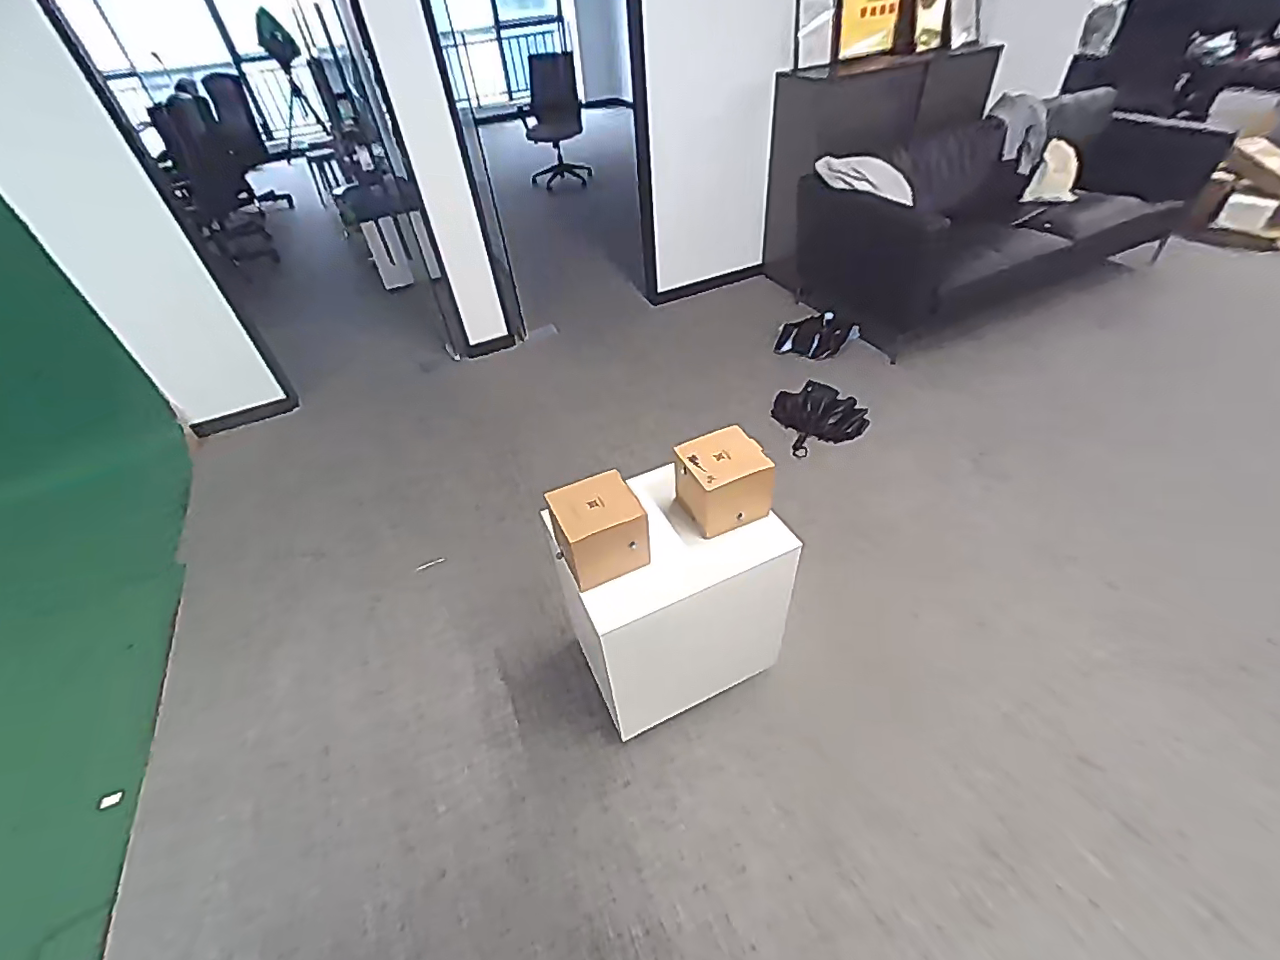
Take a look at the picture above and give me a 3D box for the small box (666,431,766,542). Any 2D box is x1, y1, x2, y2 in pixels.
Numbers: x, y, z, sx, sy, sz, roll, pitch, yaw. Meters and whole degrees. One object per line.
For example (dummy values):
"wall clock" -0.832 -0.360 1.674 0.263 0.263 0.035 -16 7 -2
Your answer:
"small box" 0.170 0.016 1.279 0.179 0.176 0.168 -19 45 -17

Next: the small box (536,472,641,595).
"small box" -0.110 0.116 1.181 0.179 0.176 0.168 -21 44 -20
